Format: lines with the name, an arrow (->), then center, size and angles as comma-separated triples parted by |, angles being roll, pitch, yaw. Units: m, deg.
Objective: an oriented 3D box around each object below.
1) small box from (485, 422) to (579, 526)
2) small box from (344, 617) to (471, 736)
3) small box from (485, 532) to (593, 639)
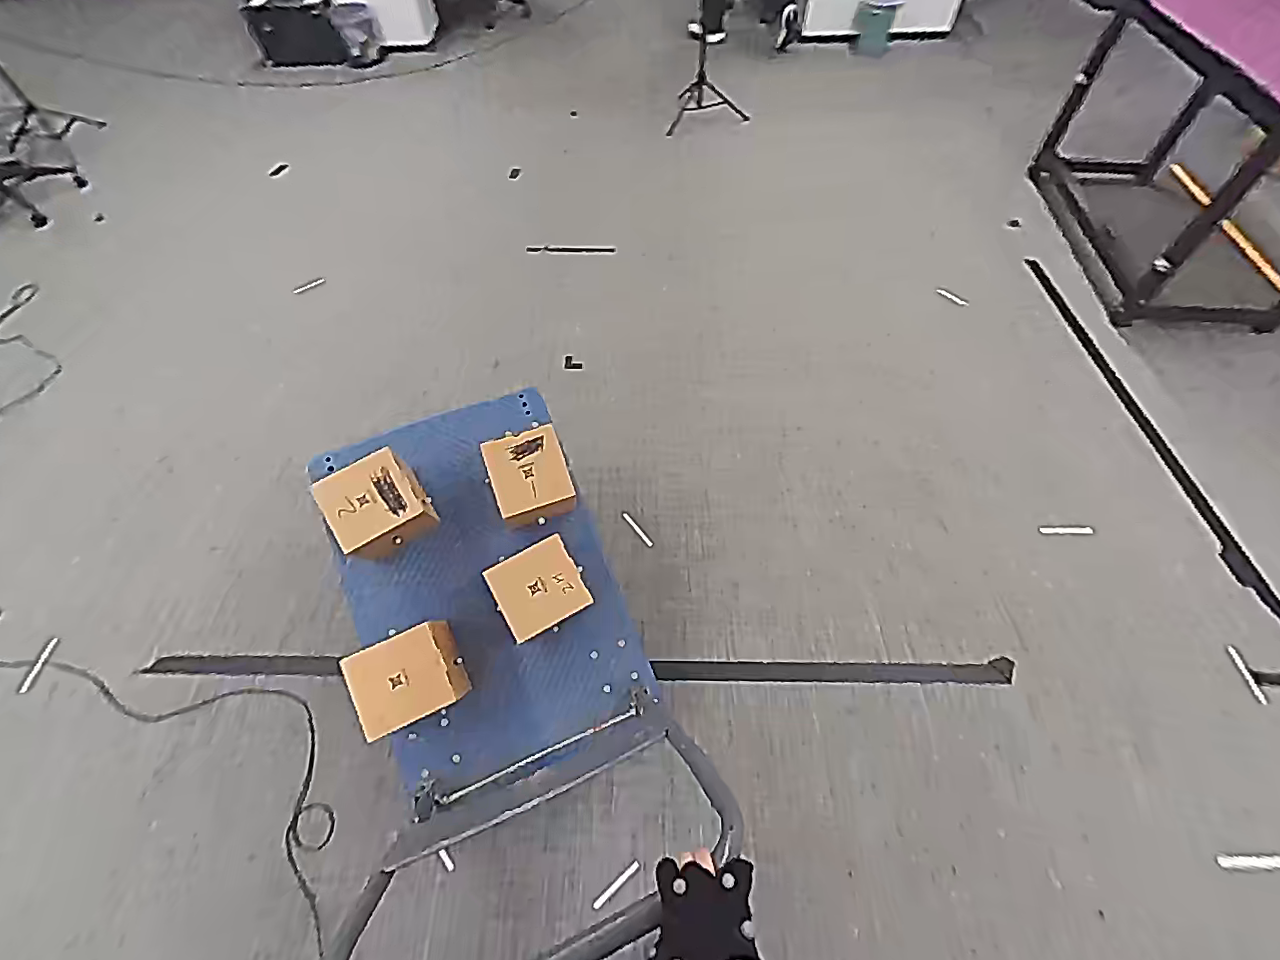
small box -> -0.247, -0.008, 1.249 | 0.168, 0.176, 0.179 | -18, 80, -11
small box -> -0.472, 0.399, 1.120 | 0.179, 0.176, 0.168 | -23, 80, -14
small box -> -0.215, 0.235, 1.193 | 0.179, 0.176, 0.168 | -27, 81, -12
